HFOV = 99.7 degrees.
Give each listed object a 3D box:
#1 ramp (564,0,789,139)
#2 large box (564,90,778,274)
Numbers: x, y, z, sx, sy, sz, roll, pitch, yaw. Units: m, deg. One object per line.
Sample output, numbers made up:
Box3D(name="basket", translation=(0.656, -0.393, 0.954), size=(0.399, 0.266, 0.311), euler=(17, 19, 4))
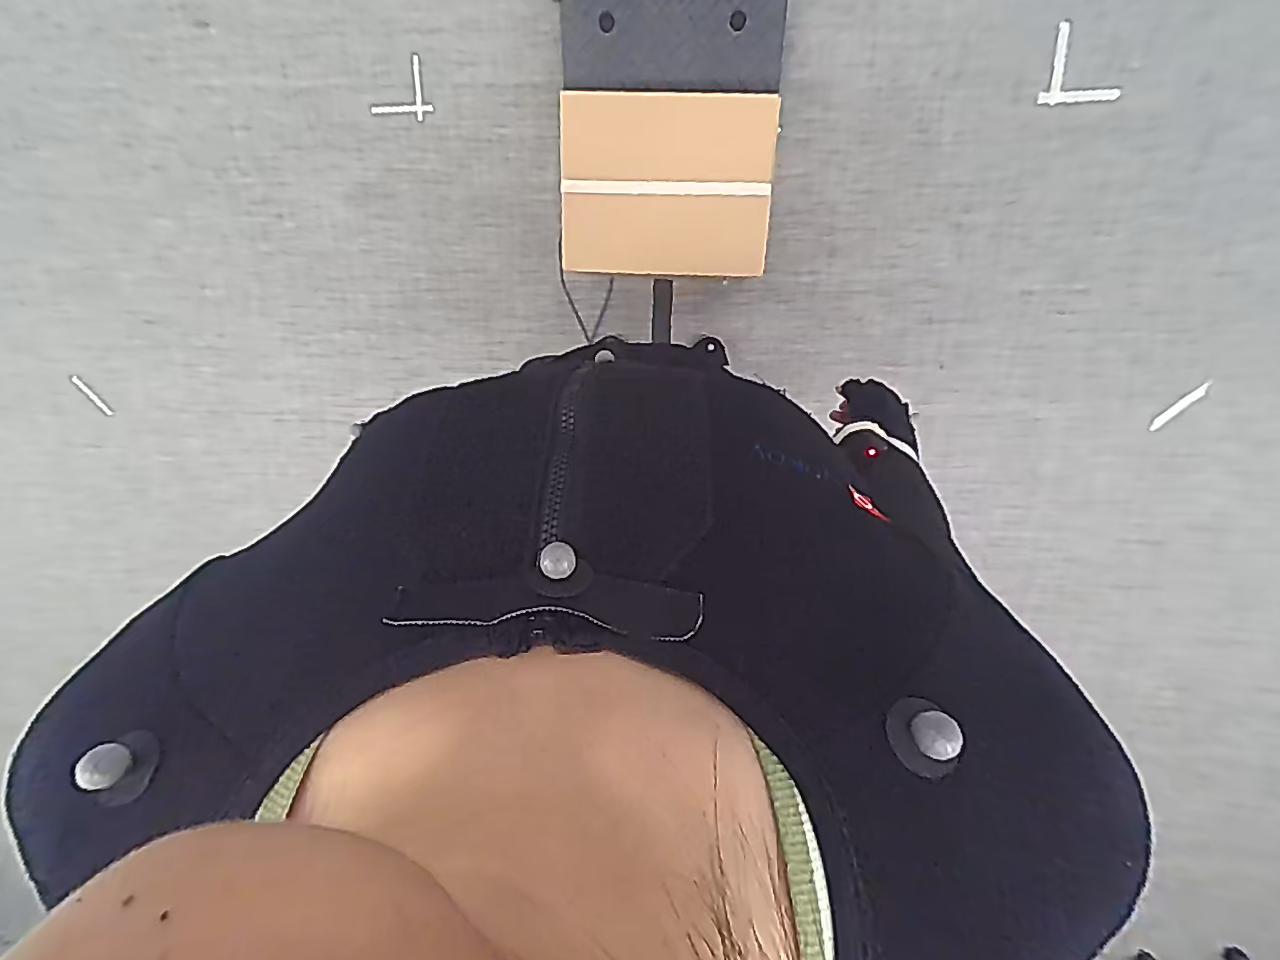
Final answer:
Box3D(name="ramp", translation=(0.079, -1.201, 1.089), size=(0.509, 0.206, 0.991), euler=(0, 106, 3))
Box3D(name="large box", translation=(0.065, -0.618, 1.181), size=(0.408, 0.320, 0.320), euler=(3, 109, 3))
